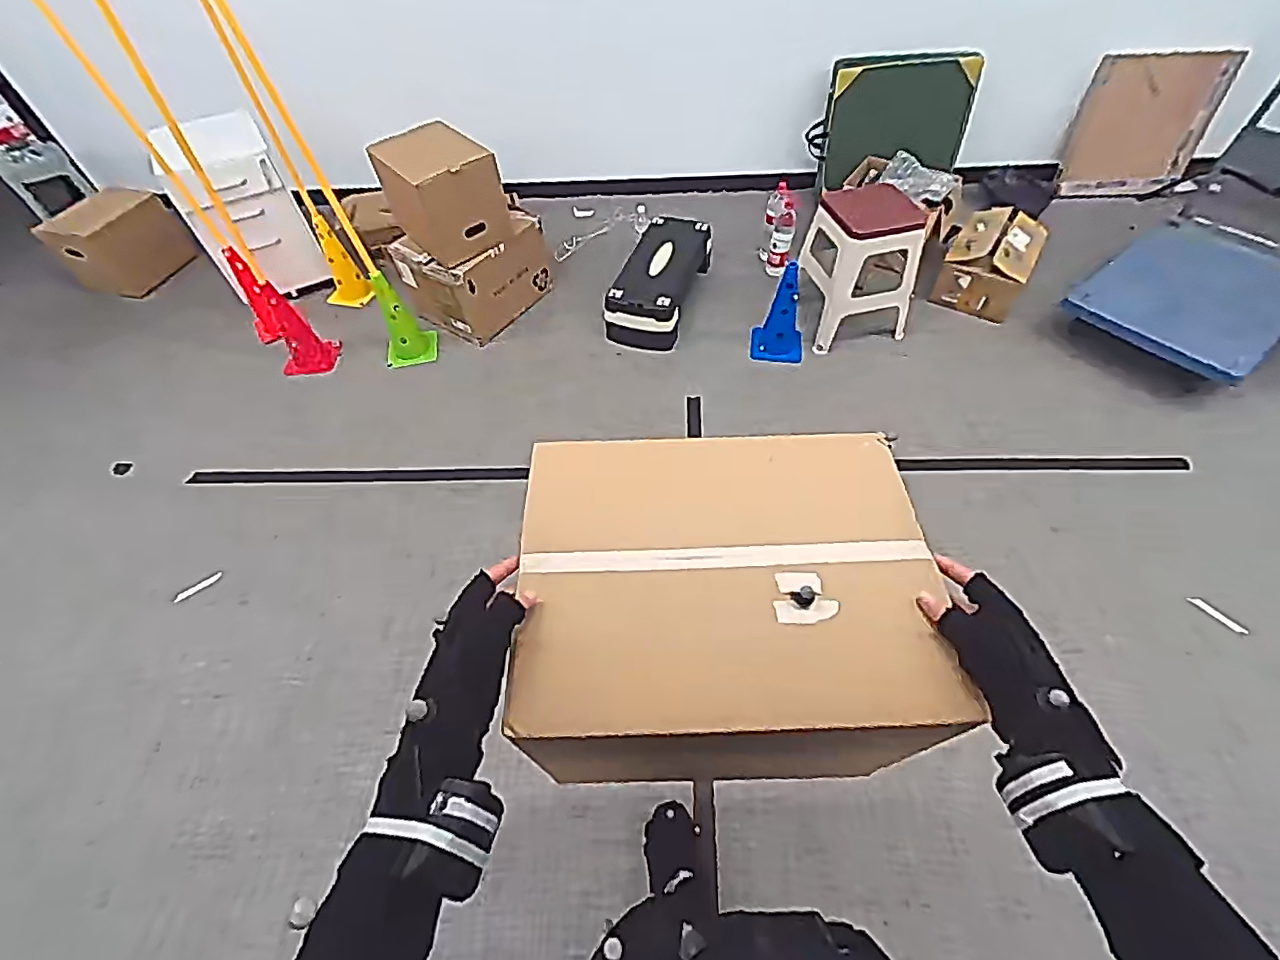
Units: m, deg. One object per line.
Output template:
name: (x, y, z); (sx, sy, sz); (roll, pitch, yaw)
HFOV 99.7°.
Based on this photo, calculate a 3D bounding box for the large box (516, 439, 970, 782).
large box: (0.082, 0.170, 0.668); (0.408, 0.320, 0.320); (-2, 55, -1)
